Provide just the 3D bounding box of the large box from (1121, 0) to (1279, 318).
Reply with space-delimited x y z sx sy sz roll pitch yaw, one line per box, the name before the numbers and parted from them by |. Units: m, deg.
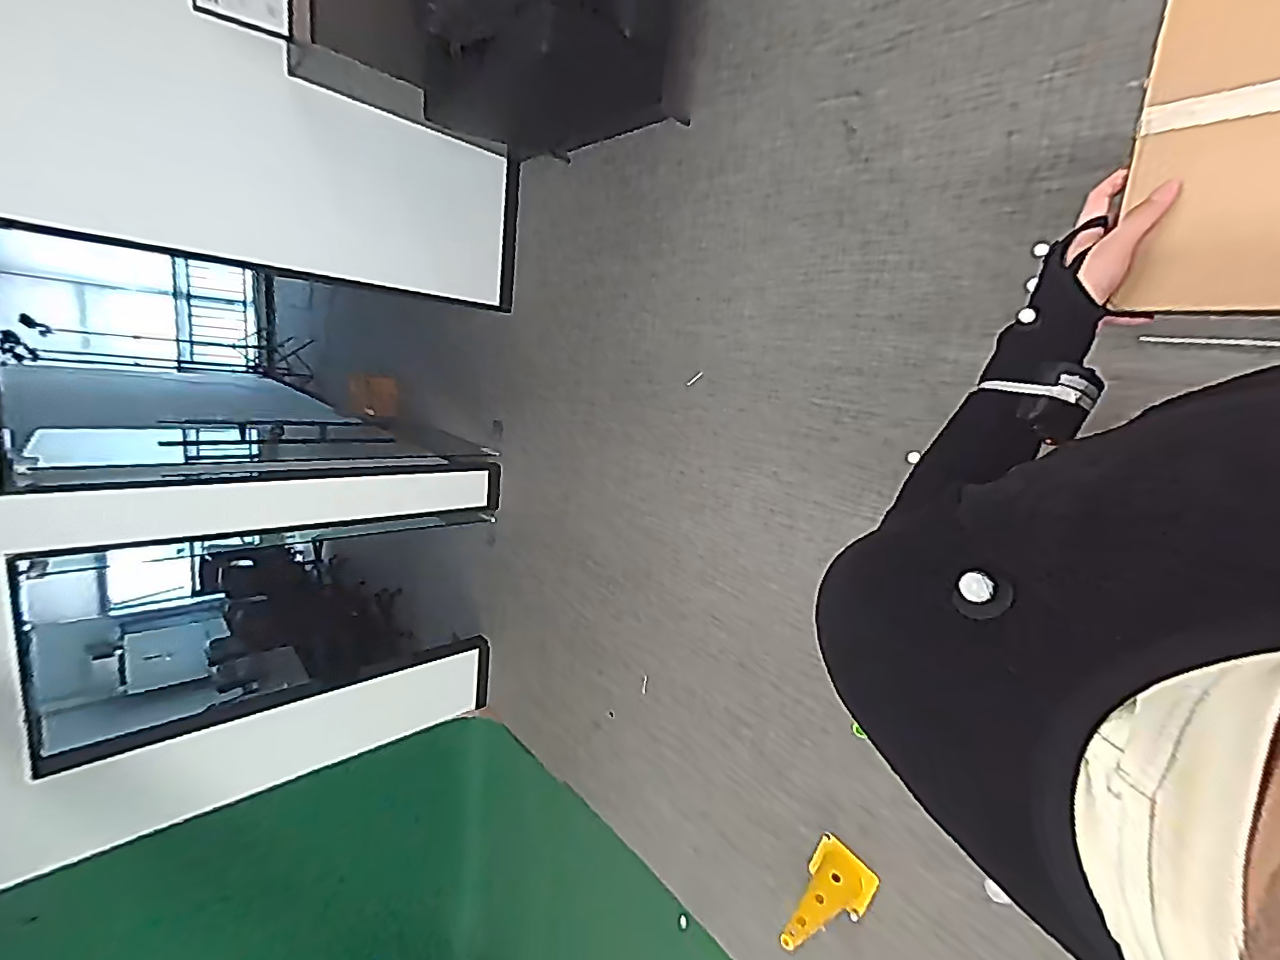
large box | 0.690 -0.298 0.428 0.408 0.320 0.320 16 113 45
